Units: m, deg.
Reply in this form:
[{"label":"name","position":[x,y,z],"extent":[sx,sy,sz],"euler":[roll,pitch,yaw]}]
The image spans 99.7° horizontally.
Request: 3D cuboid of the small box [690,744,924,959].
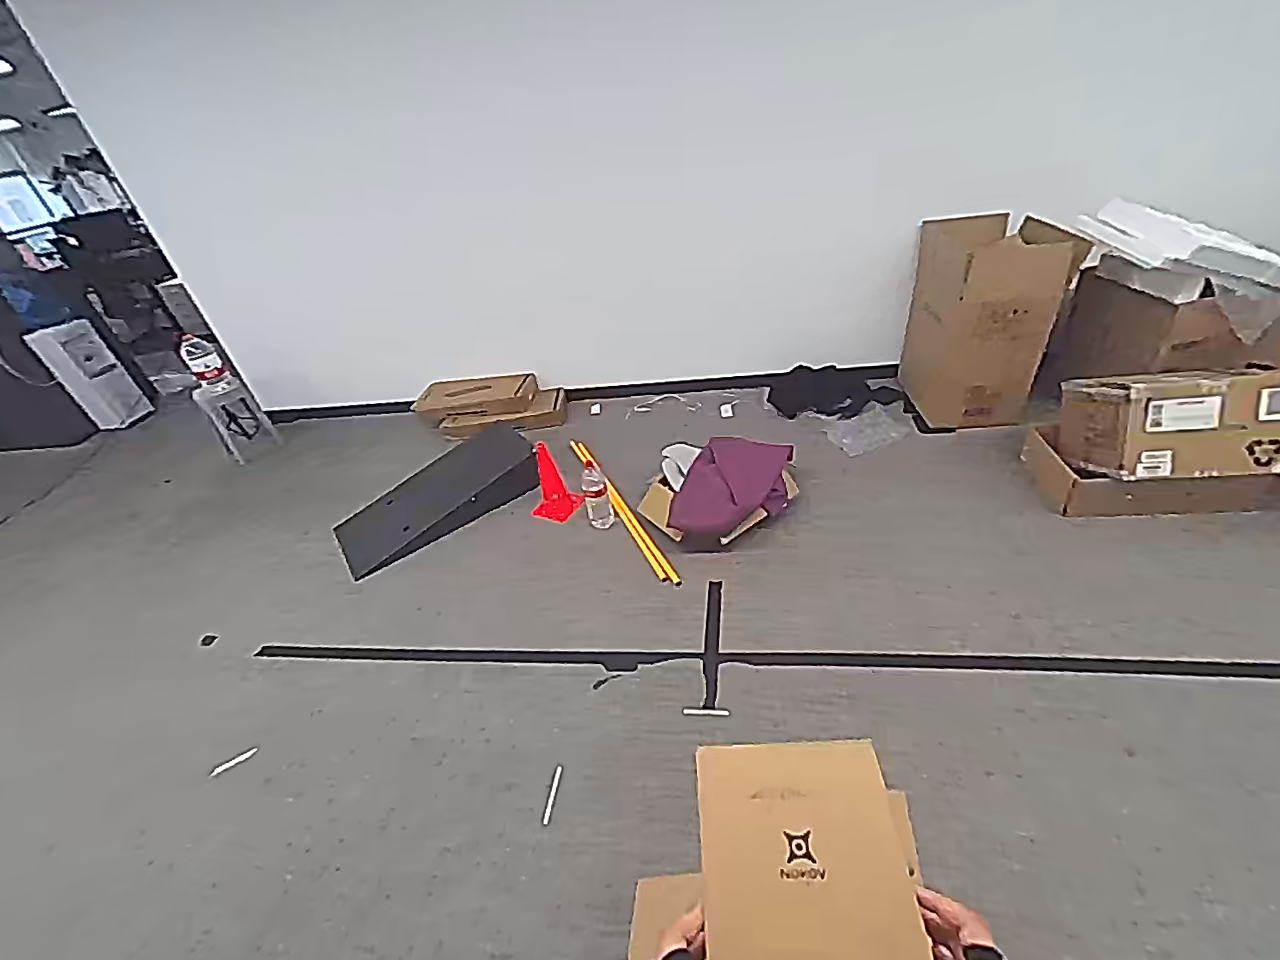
[{"label":"small box","position":[0.137,0.368,0.498],"extent":[0.168,0.176,0.179],"euler":[-5,42,5]}]
